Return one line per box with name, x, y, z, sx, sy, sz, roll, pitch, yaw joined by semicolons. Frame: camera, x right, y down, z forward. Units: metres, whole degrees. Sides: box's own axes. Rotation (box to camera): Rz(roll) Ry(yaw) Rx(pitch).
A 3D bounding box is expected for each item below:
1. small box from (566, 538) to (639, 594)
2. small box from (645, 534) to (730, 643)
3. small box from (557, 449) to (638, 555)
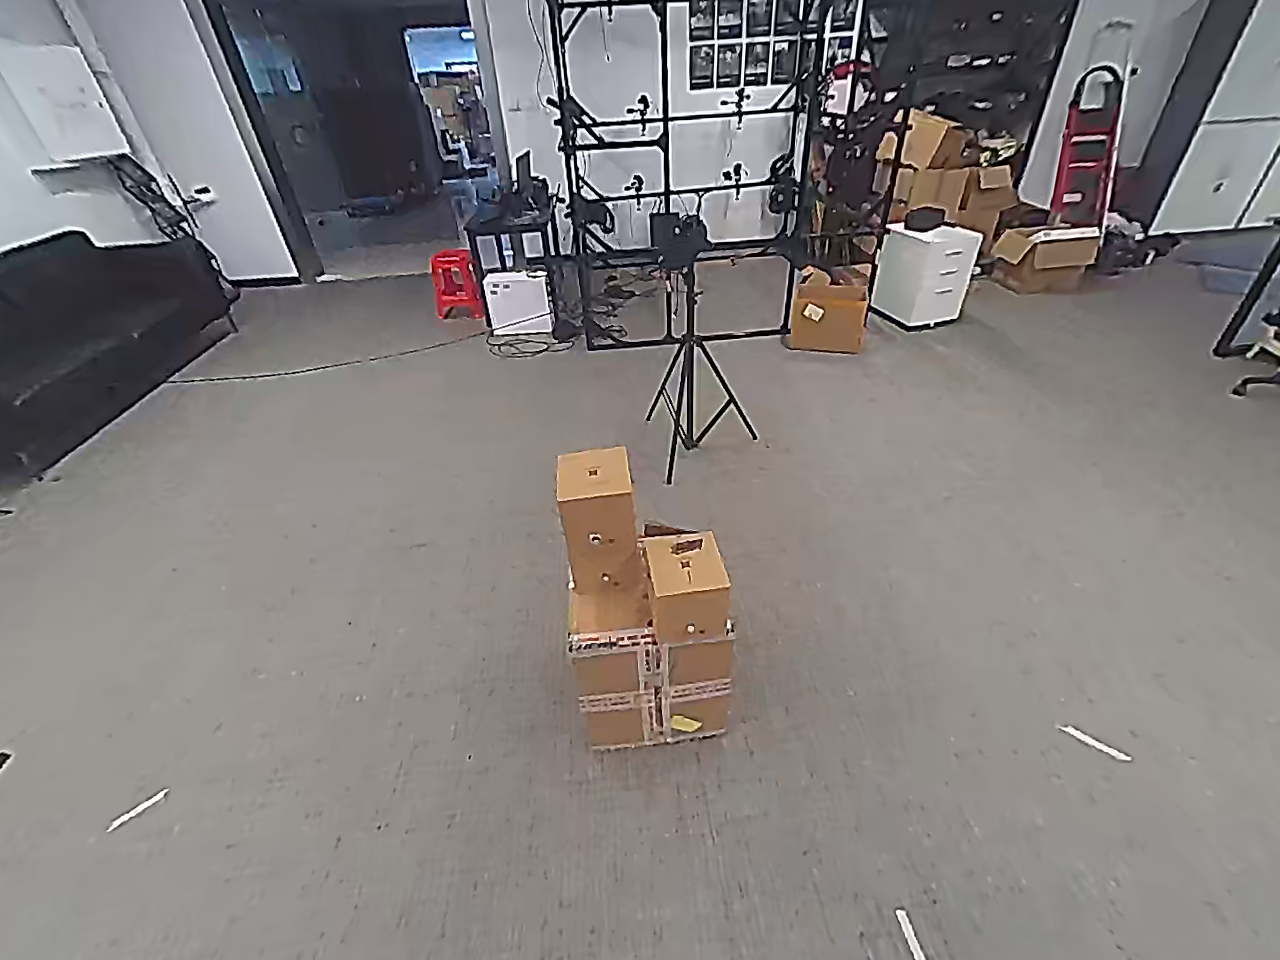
small box;-0.096;0.166;1.384;0.168;0.176;0.179;-7;39;-2
small box;0.104;0.251;1.258;0.168;0.176;0.179;-7;39;-4
small box;-0.099;0.051;1.267;0.168;0.176;0.179;-8;40;-2
